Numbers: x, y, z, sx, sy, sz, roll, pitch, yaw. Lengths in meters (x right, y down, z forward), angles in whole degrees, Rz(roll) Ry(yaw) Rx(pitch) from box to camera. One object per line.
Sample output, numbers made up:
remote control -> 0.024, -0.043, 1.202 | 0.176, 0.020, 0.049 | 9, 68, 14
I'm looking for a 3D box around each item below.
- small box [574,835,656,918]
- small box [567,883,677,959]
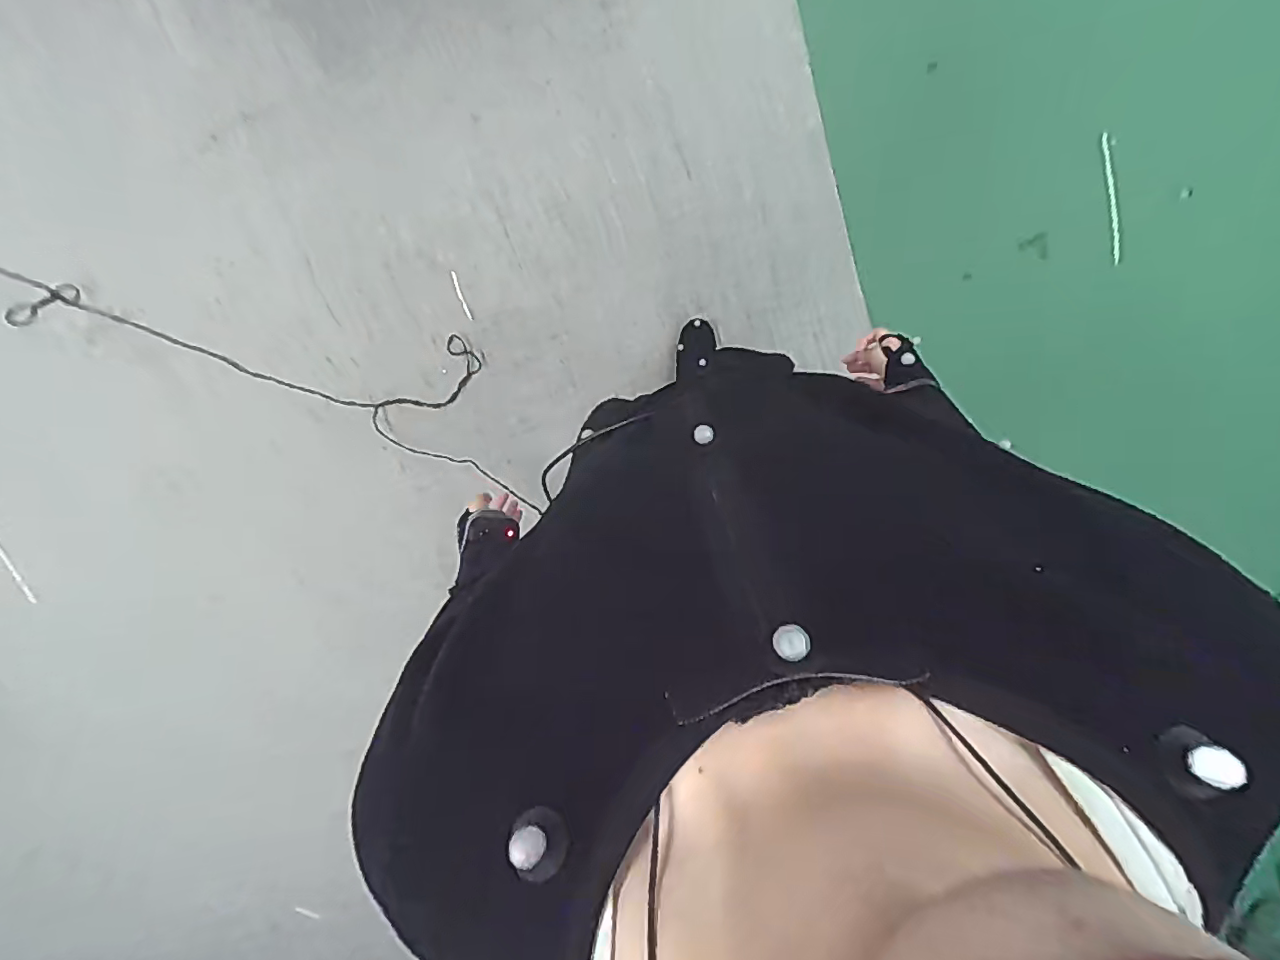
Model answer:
small box -> -0.051, 0.928, 1.207 | 0.168, 0.176, 0.179 | -7, 102, 0
small box -> -0.032, 0.936, 1.041 | 0.179, 0.176, 0.168 | -25, 104, 3
